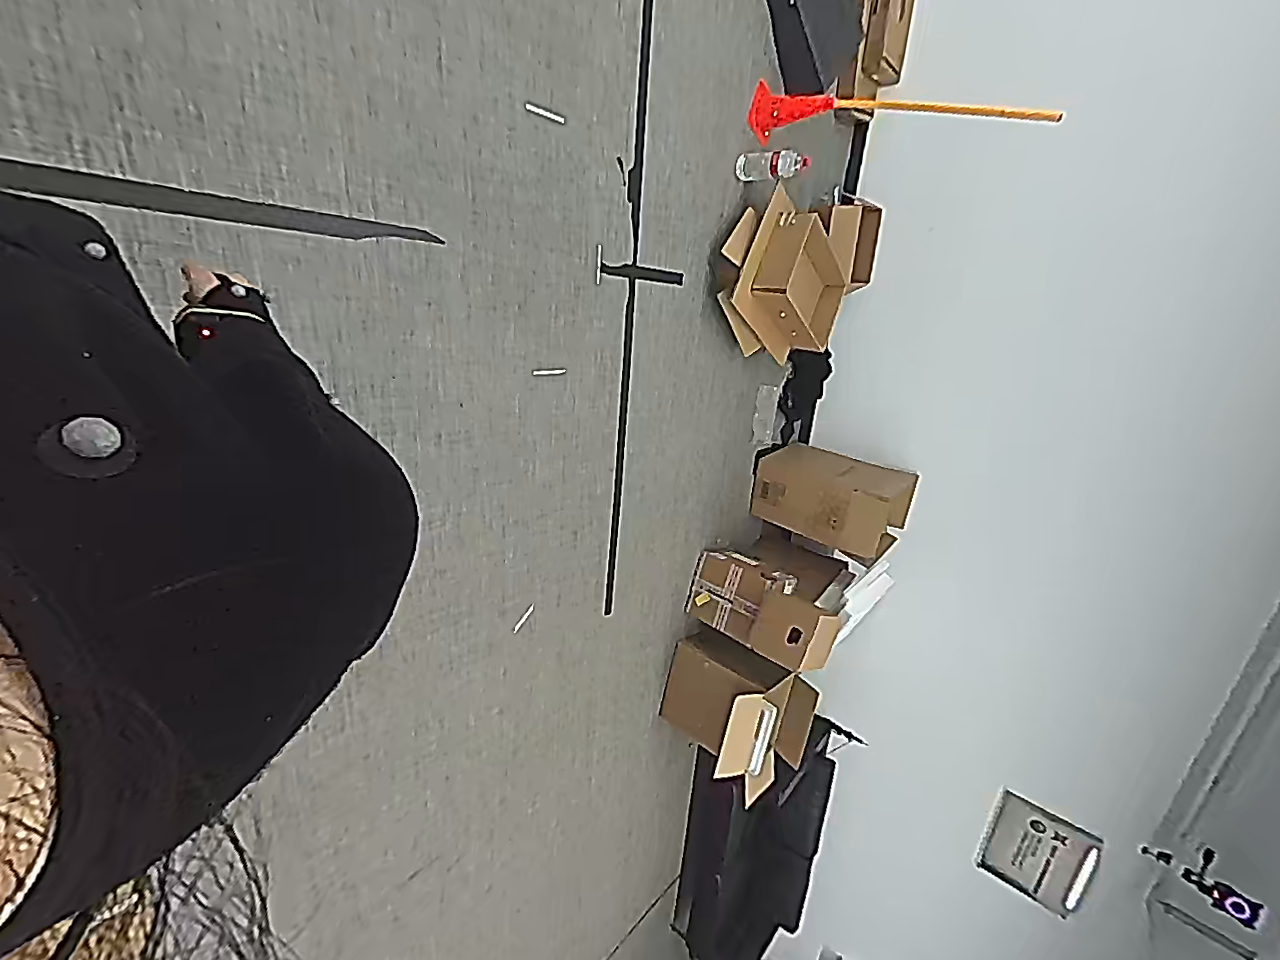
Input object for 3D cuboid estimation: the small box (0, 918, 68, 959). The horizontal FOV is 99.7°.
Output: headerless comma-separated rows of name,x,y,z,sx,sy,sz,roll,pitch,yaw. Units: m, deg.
small box,-1.116,0.928,0.937,0.168,0.176,0.179,-21,121,-46
